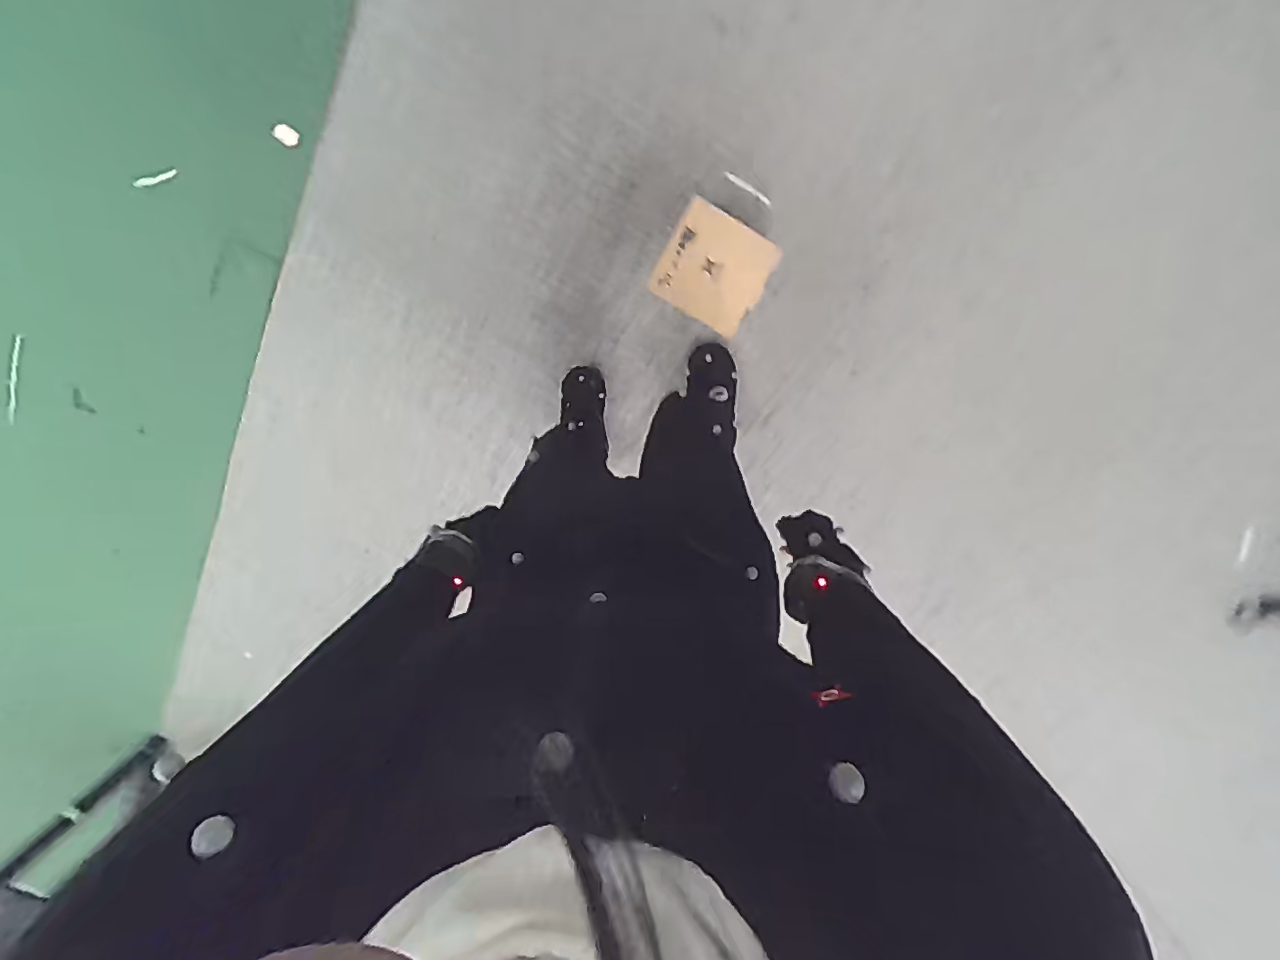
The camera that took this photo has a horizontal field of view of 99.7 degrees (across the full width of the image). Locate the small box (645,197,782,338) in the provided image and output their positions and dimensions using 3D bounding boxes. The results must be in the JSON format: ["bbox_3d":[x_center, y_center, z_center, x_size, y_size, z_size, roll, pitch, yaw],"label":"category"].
[{"bbox_3d":[0.133,-0.386,0.984,0.179,0.176,0.168,32,113,-5],"label":"small box"}]
